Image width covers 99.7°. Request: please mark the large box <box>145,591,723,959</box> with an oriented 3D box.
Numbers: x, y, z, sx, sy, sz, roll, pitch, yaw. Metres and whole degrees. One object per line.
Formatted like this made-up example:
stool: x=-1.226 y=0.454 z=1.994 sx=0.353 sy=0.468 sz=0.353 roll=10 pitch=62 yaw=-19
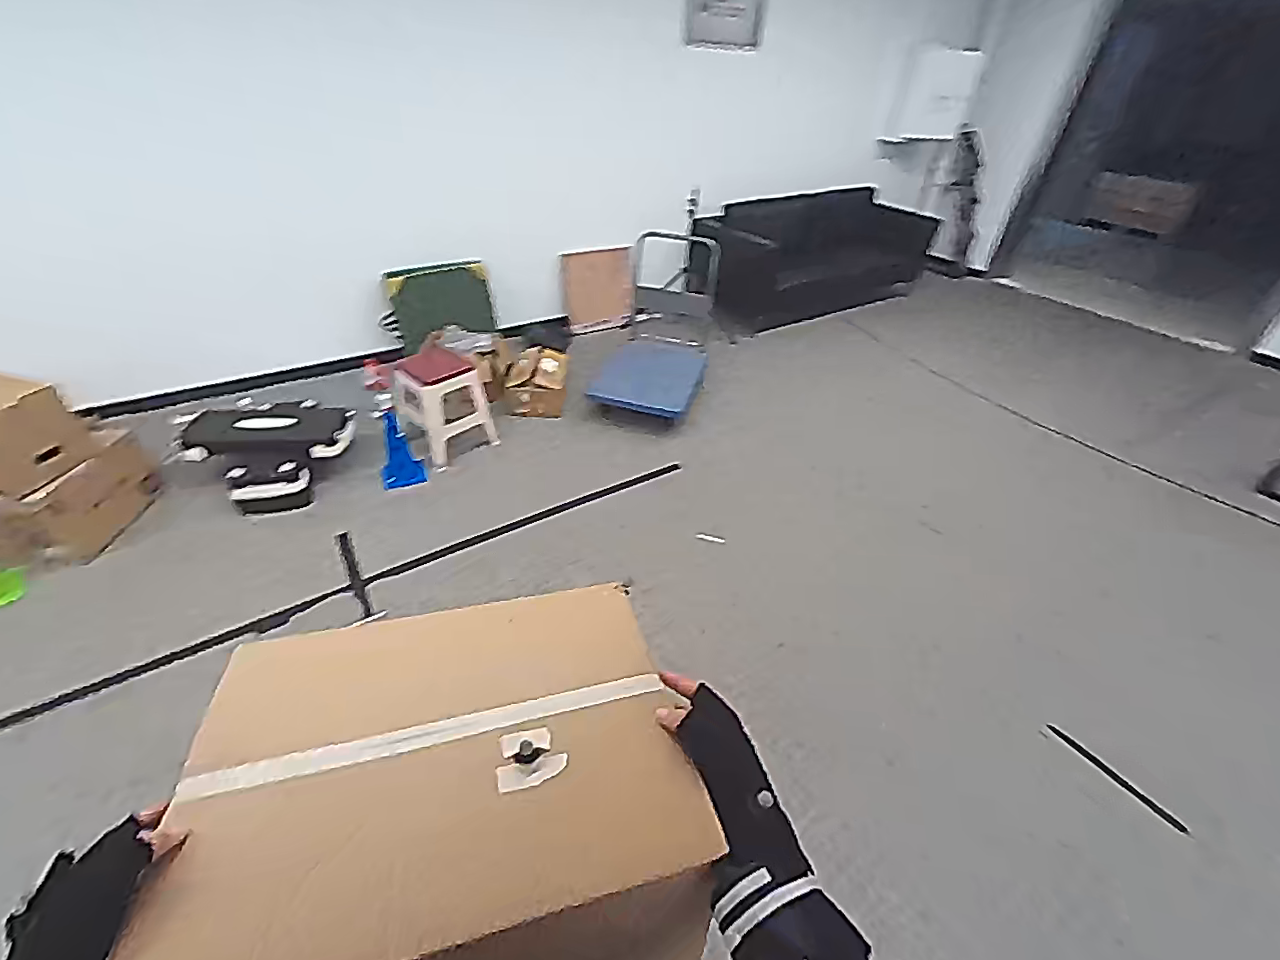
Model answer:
large box: x=-0.172 y=0.362 z=0.570 sx=0.408 sy=0.320 sz=0.320 roll=-6 pitch=32 yaw=-16
